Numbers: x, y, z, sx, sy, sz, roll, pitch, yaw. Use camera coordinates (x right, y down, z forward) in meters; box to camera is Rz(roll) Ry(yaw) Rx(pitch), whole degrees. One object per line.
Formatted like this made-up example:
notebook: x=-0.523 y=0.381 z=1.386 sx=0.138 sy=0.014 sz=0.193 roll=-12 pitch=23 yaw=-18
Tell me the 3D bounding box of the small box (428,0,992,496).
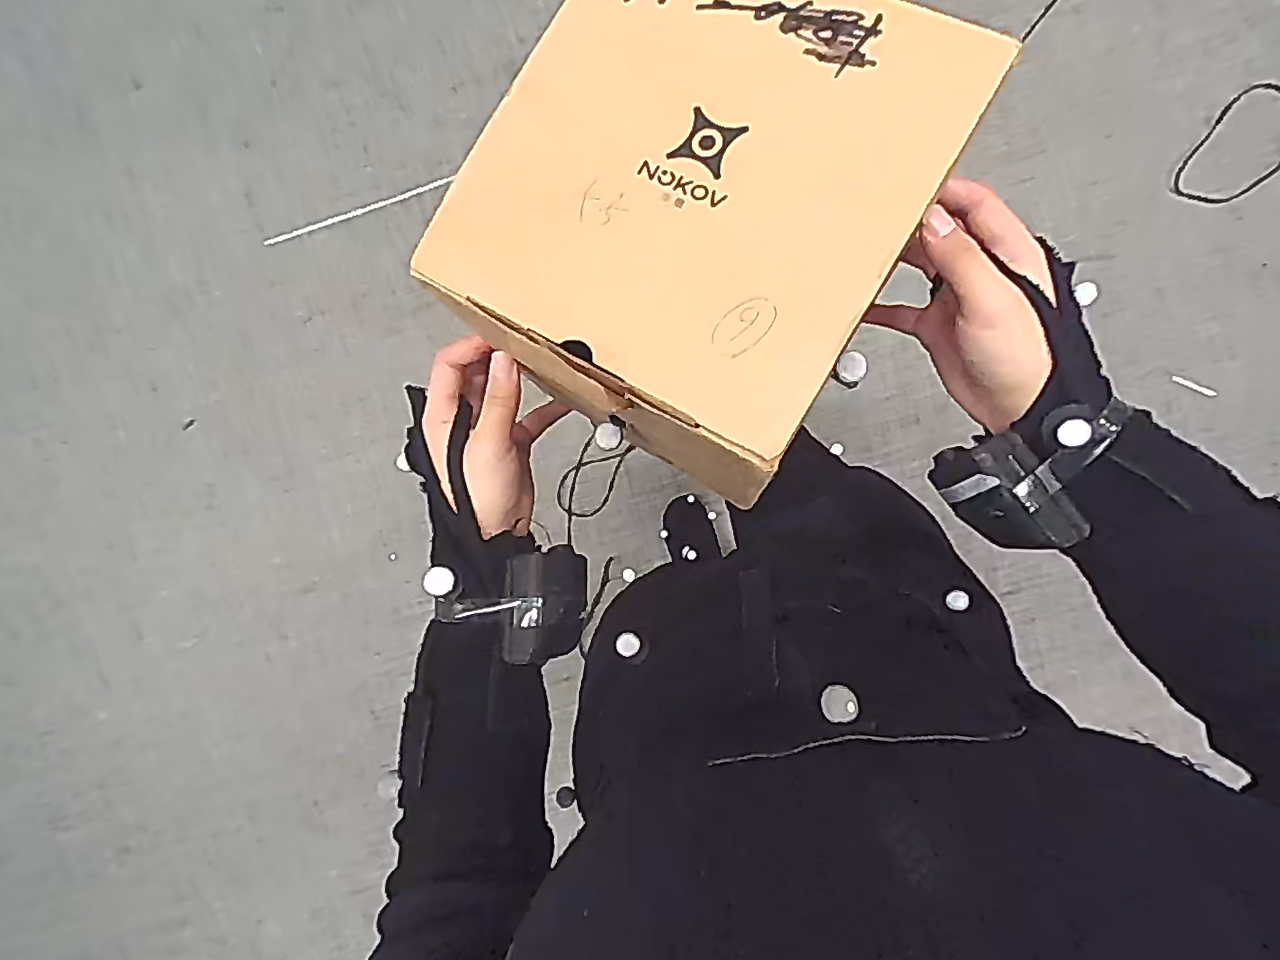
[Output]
small box: x=0.034 y=-0.105 z=0.291 sx=0.168 sy=0.176 sz=0.179 roll=31 pitch=89 yaw=12
